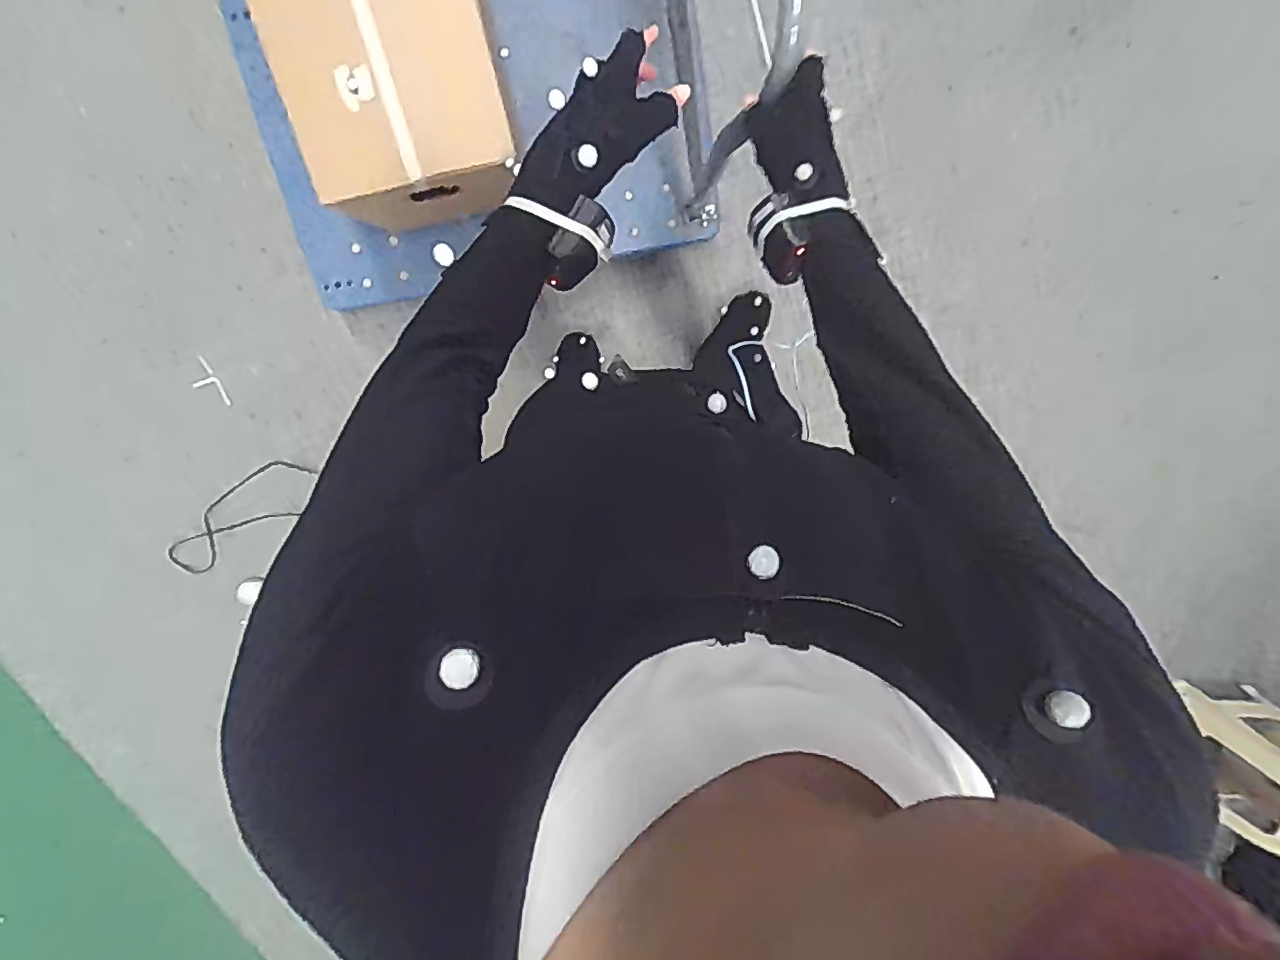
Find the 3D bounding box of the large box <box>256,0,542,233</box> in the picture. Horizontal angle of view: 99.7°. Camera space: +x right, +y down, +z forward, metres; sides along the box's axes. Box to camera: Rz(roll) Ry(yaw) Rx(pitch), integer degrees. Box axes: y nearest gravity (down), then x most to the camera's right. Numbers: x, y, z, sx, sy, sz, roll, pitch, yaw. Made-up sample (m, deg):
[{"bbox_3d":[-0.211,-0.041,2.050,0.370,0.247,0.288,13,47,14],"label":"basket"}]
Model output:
[{"bbox_3d":[-0.383,-0.687,0.923,0.320,0.320,0.408,-14,108,1],"label":"large box"}]
